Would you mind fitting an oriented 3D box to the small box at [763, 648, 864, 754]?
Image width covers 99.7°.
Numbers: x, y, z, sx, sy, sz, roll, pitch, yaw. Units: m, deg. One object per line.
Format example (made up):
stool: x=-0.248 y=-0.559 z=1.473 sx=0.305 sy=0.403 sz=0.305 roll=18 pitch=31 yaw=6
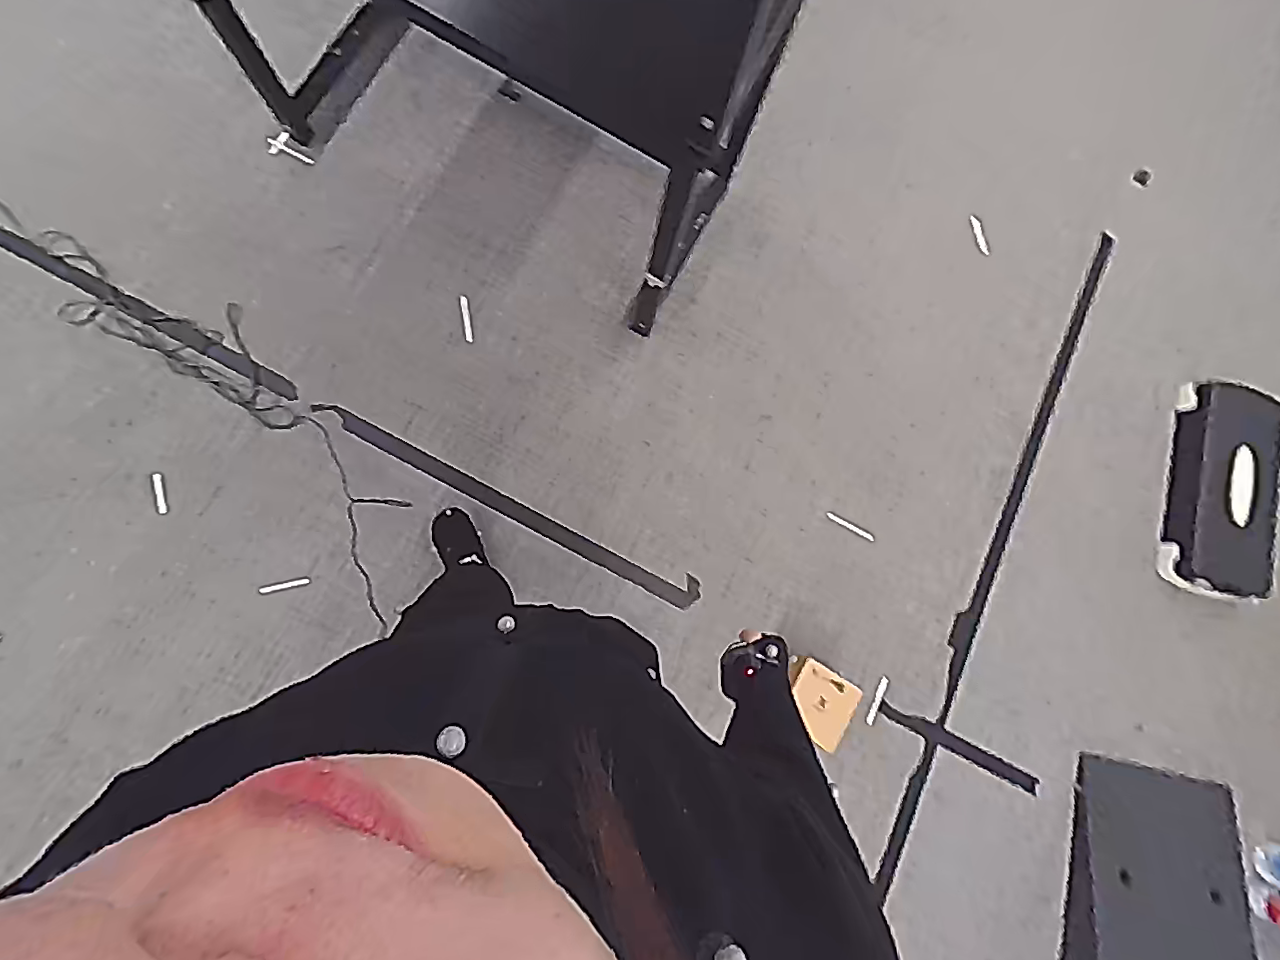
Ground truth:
small box: x=0.444 y=0.571 z=1.422 sx=0.168 sy=0.176 sz=0.179 roll=33 pitch=81 yaw=-1
